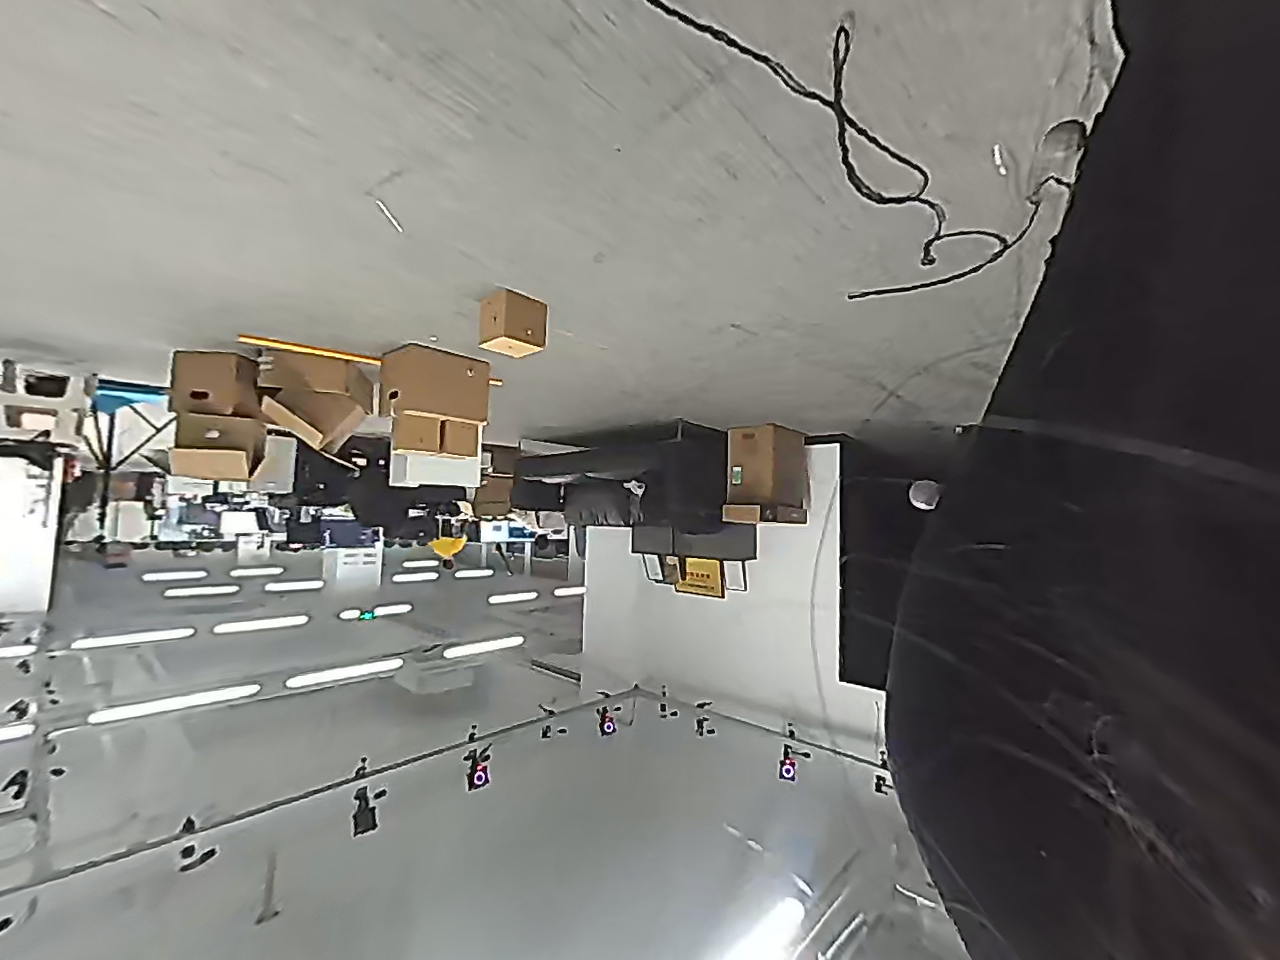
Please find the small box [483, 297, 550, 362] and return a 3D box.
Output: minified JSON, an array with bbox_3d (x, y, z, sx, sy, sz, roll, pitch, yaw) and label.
[{"bbox_3d":[-0.434,-0.531,1.907,0.168,0.176,0.179,-3,175,43],"label":"small box"}]
